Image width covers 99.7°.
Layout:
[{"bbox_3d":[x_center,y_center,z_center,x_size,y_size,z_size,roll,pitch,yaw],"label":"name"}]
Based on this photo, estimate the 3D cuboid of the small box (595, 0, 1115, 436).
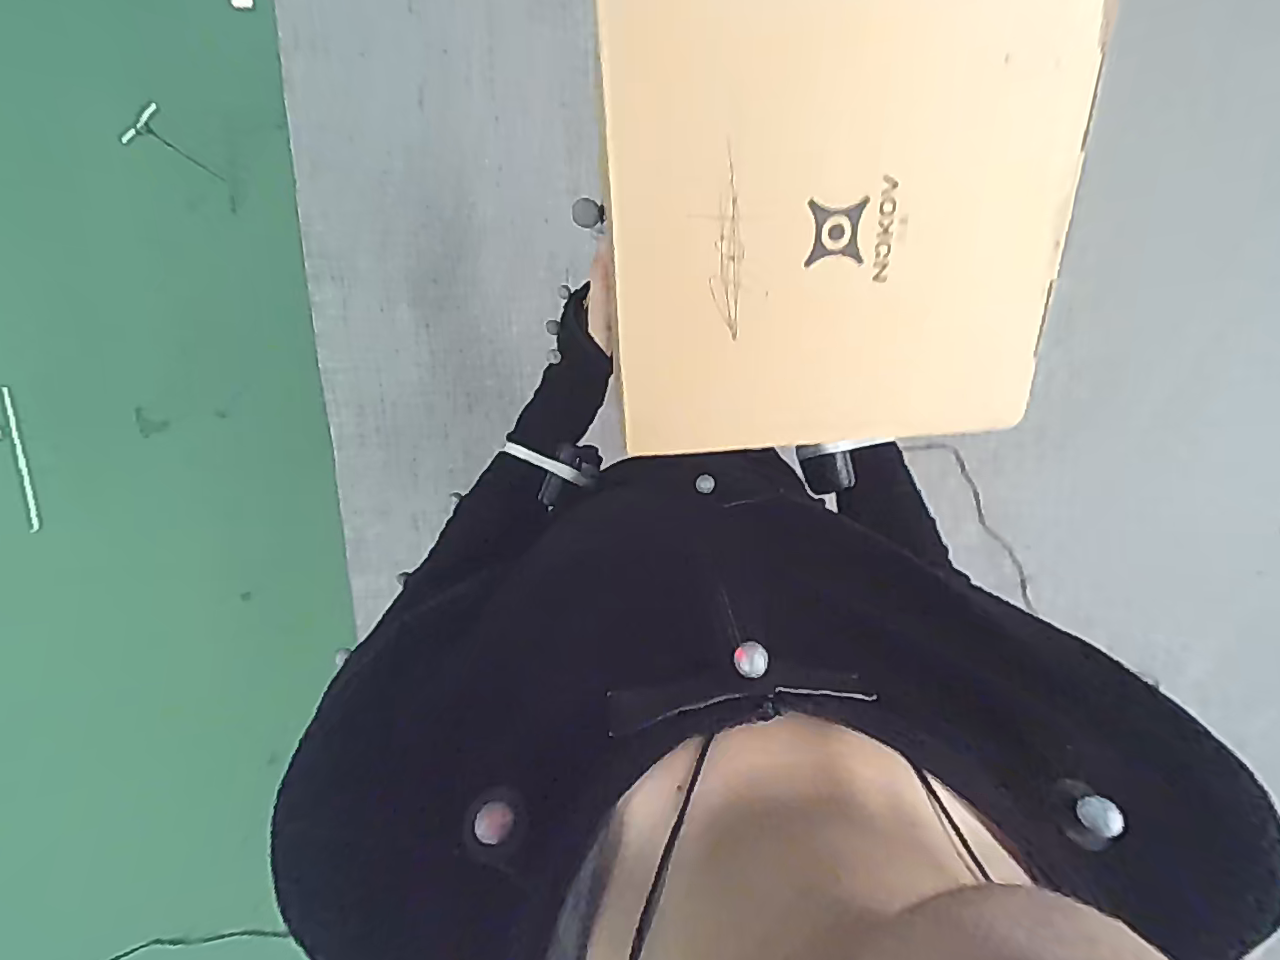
[{"bbox_3d":[0.069,-0.130,0.275,0.179,0.176,0.168,-3,113,-2],"label":"small box"}]
